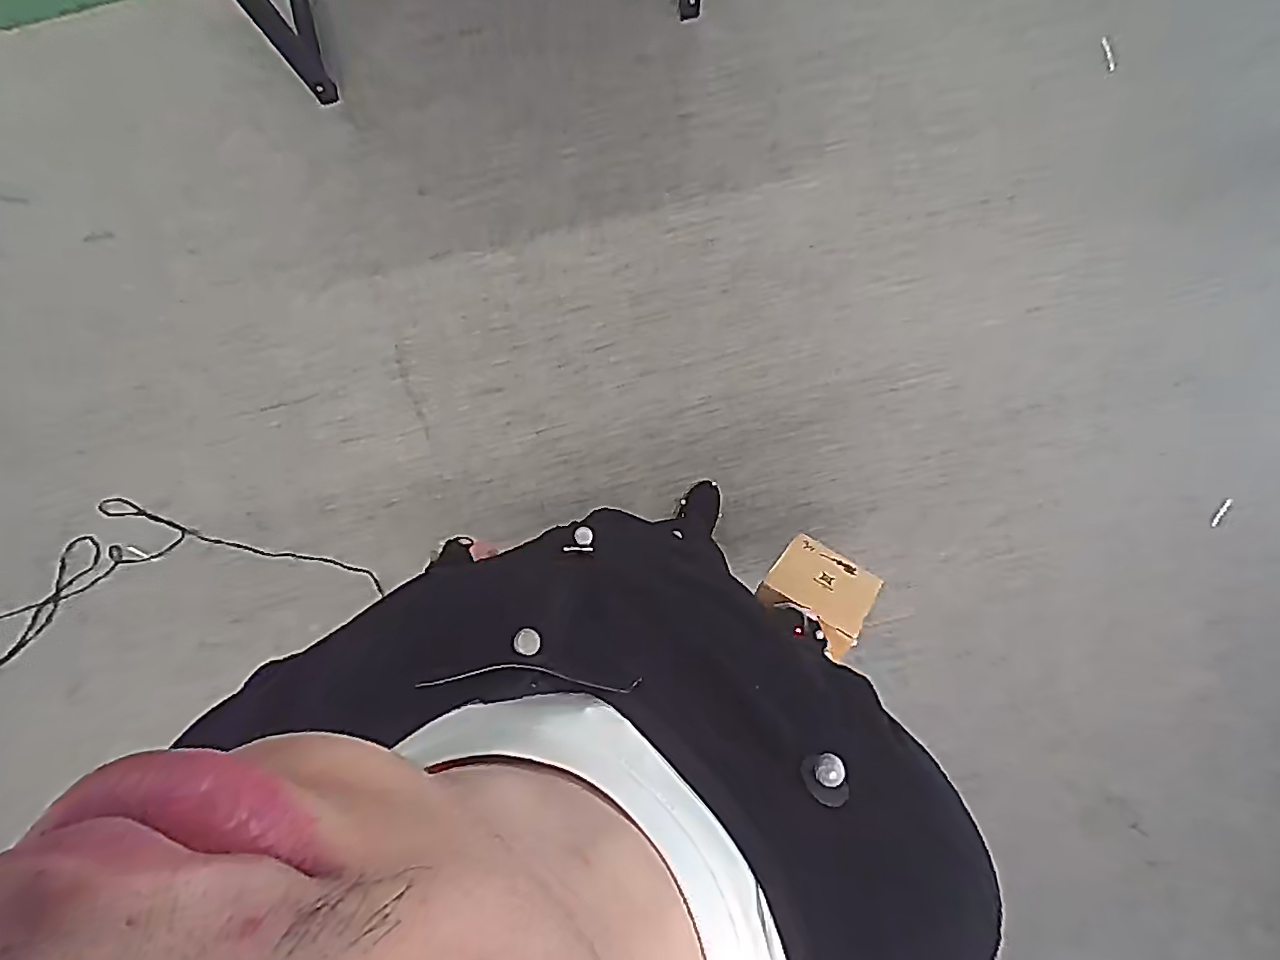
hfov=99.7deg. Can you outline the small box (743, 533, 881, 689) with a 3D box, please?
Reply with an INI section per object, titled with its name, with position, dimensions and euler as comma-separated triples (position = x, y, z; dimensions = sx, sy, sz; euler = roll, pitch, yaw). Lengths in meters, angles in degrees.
[small box]
position = 0.301, 0.233, 0.968
dimensions = 0.168, 0.179, 0.176
euler = 29, 128, 20
